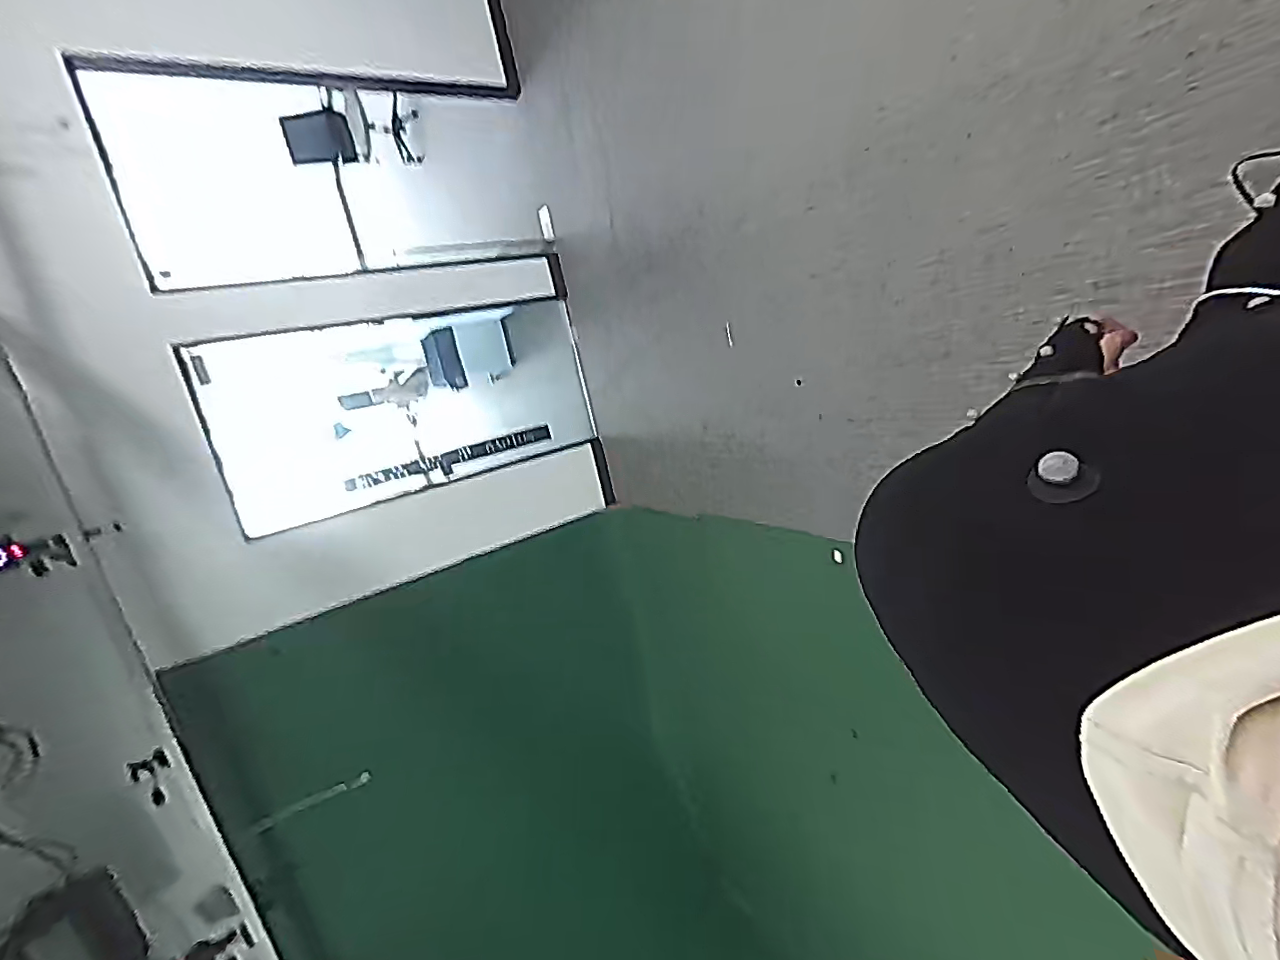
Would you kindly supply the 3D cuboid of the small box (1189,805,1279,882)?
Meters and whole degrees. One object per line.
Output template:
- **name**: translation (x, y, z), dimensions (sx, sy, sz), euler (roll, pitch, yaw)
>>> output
- **small box**: translation (1.313, 0.834, 1.145), dimensions (0.179, 0.176, 0.168), euler (3, 109, 58)

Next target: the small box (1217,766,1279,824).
- **small box**: translation (1.450, 0.786, 1.219), dimensions (0.179, 0.176, 0.168), euler (9, 114, 57)

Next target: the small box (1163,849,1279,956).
- **small box**: translation (1.179, 0.881, 1.063), dimensions (0.179, 0.176, 0.168), euler (1, 107, 60)

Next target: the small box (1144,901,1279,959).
- **small box**: translation (1.048, 0.929, 0.976), dimensions (0.168, 0.176, 0.179), euler (4, 109, 58)
